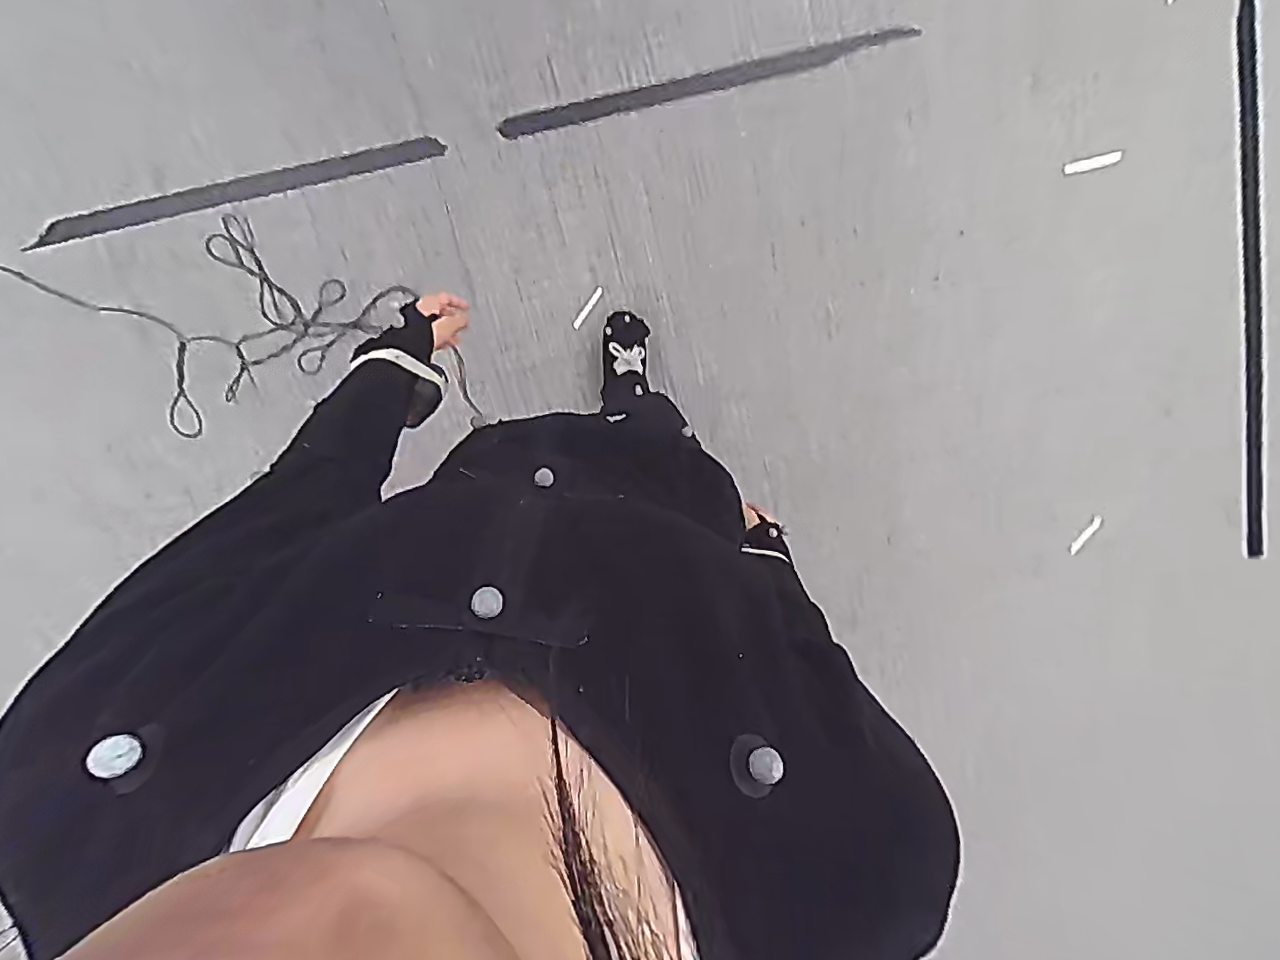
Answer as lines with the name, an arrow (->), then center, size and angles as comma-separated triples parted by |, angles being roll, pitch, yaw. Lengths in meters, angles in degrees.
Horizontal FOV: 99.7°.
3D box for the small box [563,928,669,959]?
small box -> -0.023, 0.820, 0.794 | 0.168, 0.176, 0.179 | -11, 100, -2
